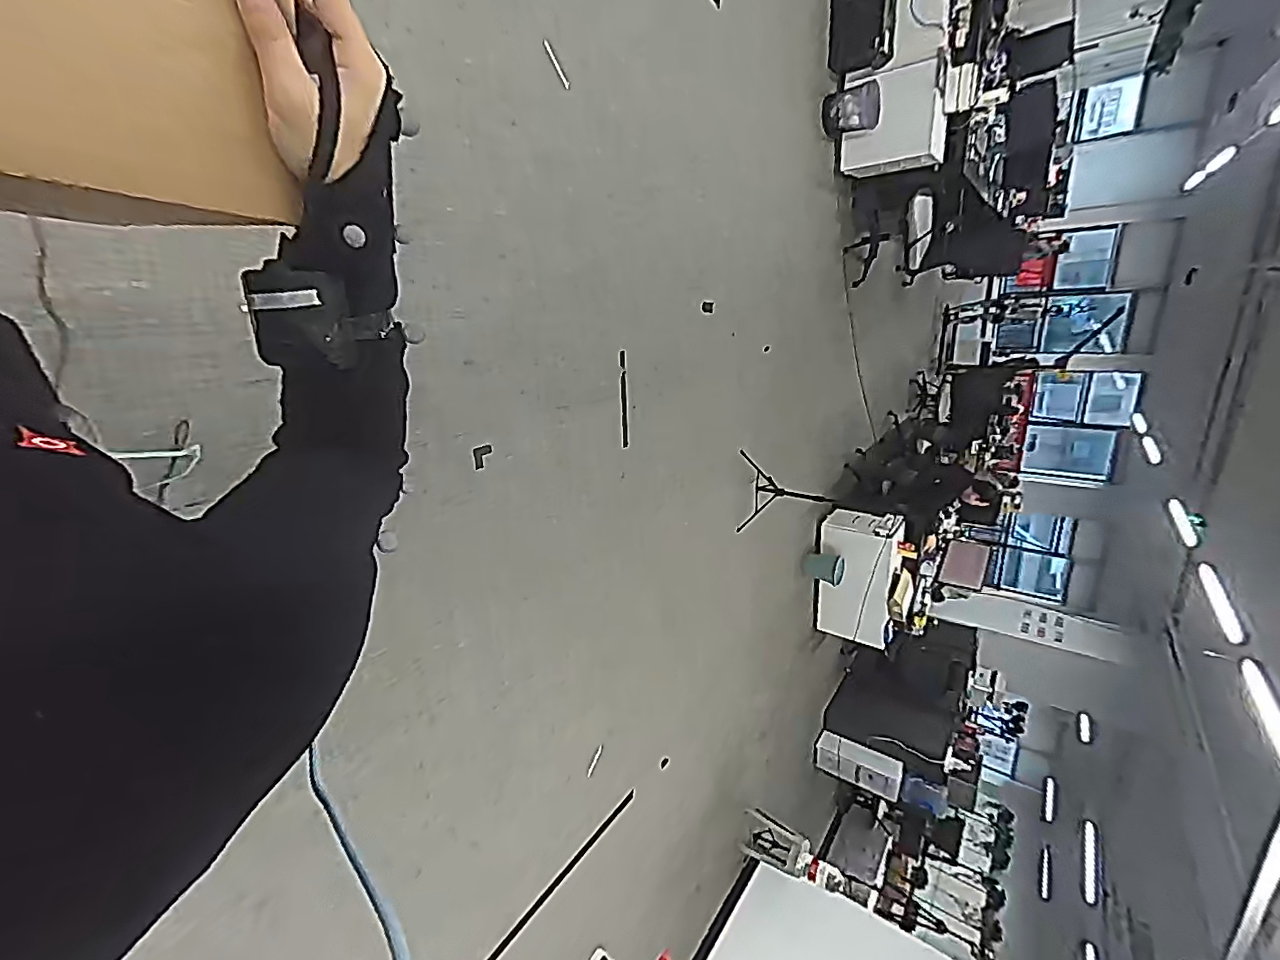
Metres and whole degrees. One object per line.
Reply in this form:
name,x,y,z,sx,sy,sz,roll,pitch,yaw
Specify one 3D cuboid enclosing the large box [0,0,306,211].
large box,-0.424,-0.303,0.197,0.408,0.320,0.320,-22,123,-56
